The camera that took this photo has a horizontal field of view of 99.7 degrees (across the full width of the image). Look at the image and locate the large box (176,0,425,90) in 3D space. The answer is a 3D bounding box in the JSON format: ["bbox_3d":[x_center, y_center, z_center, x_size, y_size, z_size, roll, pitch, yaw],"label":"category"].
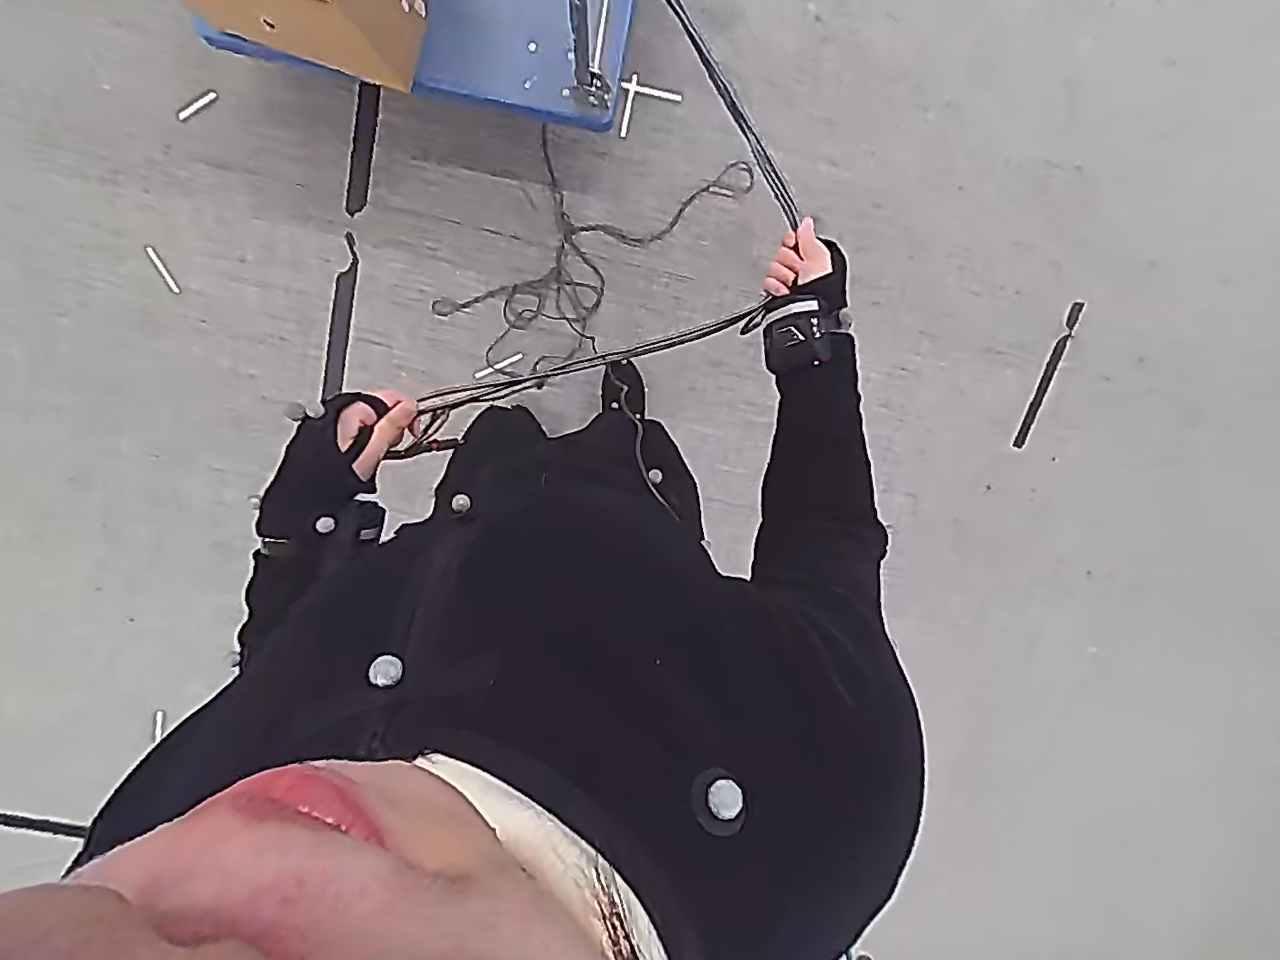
[{"bbox_3d":[-0.619,-0.954,0.925,0.408,0.320,0.320,16,102,-4],"label":"large box"}]
